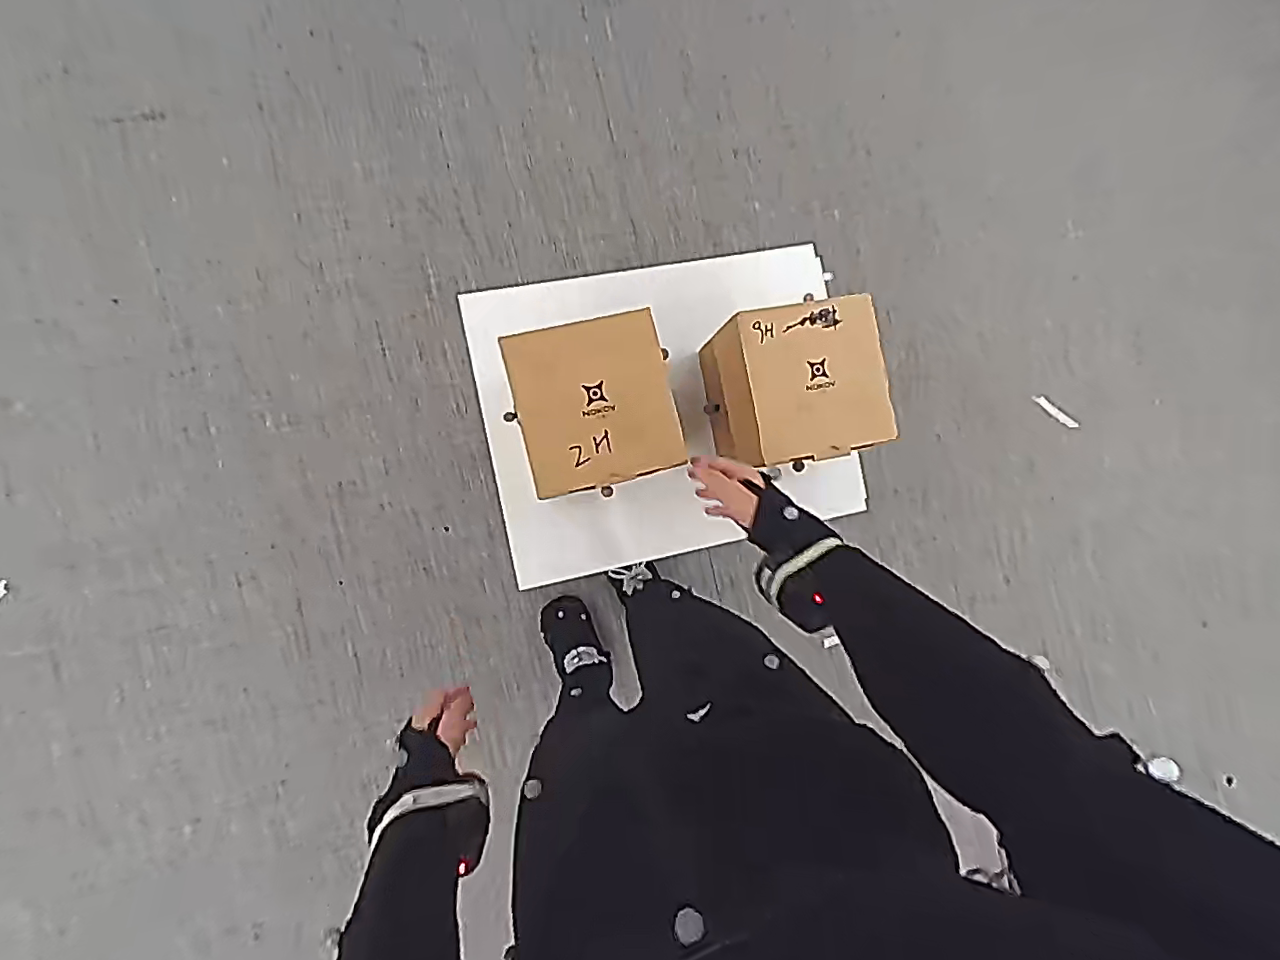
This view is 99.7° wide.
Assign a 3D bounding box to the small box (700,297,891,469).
[{"bbox_3d":[0.185,-0.112,0.685,0.168,0.176,0.179,-10,92,-9],"label":"small box"}]

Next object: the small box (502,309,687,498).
[{"bbox_3d":[-0.059,-0.079,0.644,0.168,0.176,0.179,-14,91,-9],"label":"small box"}]
